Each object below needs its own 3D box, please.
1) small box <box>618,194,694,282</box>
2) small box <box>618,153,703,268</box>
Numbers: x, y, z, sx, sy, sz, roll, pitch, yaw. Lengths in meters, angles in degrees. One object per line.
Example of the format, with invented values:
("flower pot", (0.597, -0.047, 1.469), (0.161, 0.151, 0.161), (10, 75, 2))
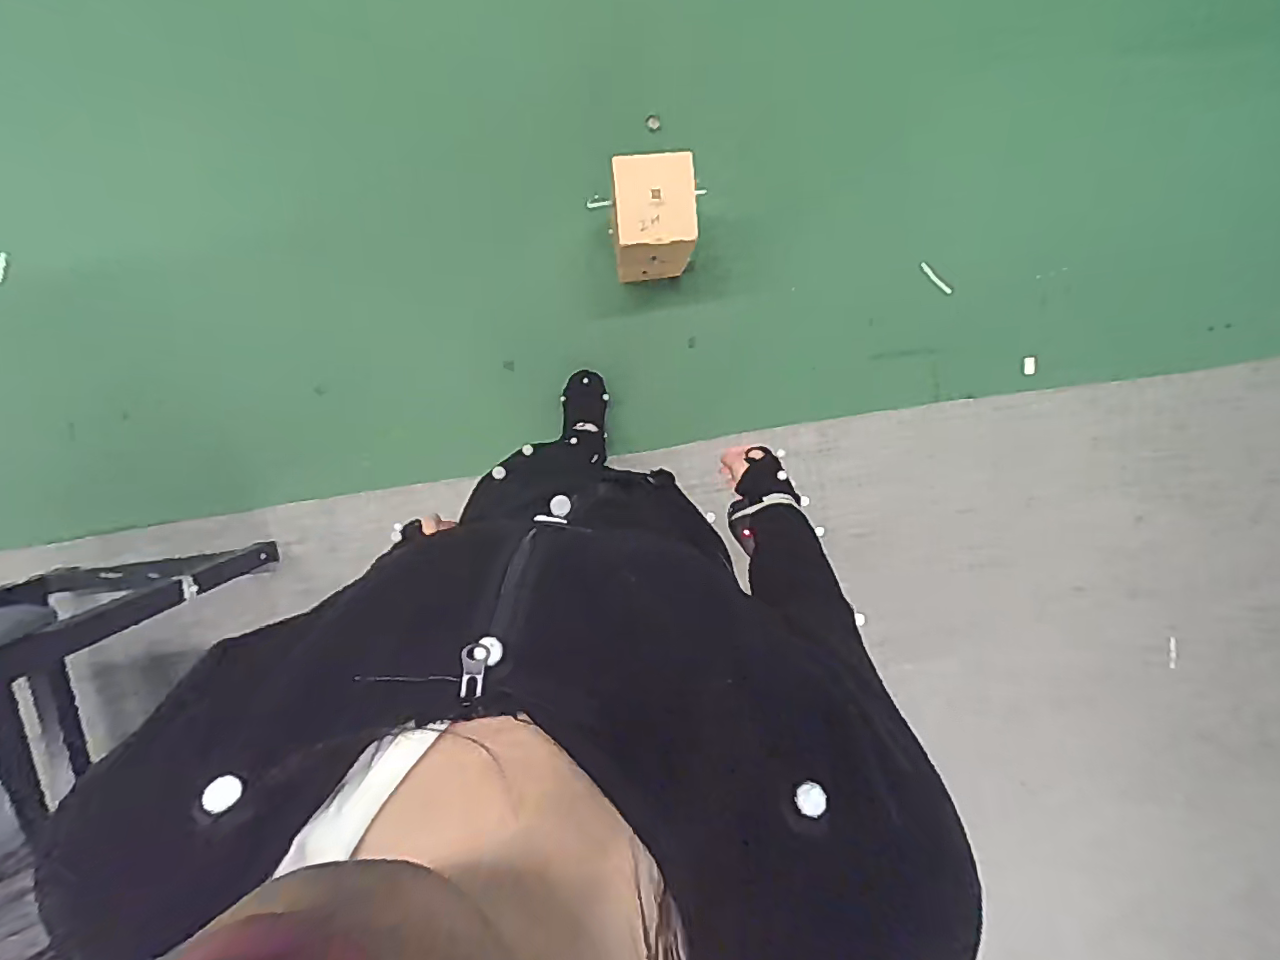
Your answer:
("small box", (0.038, -0.604, 1.352), (0.168, 0.176, 0.179), (-8, 97, -1))
("small box", (0.041, -0.584, 1.187), (0.168, 0.176, 0.179), (-6, 97, -1))
